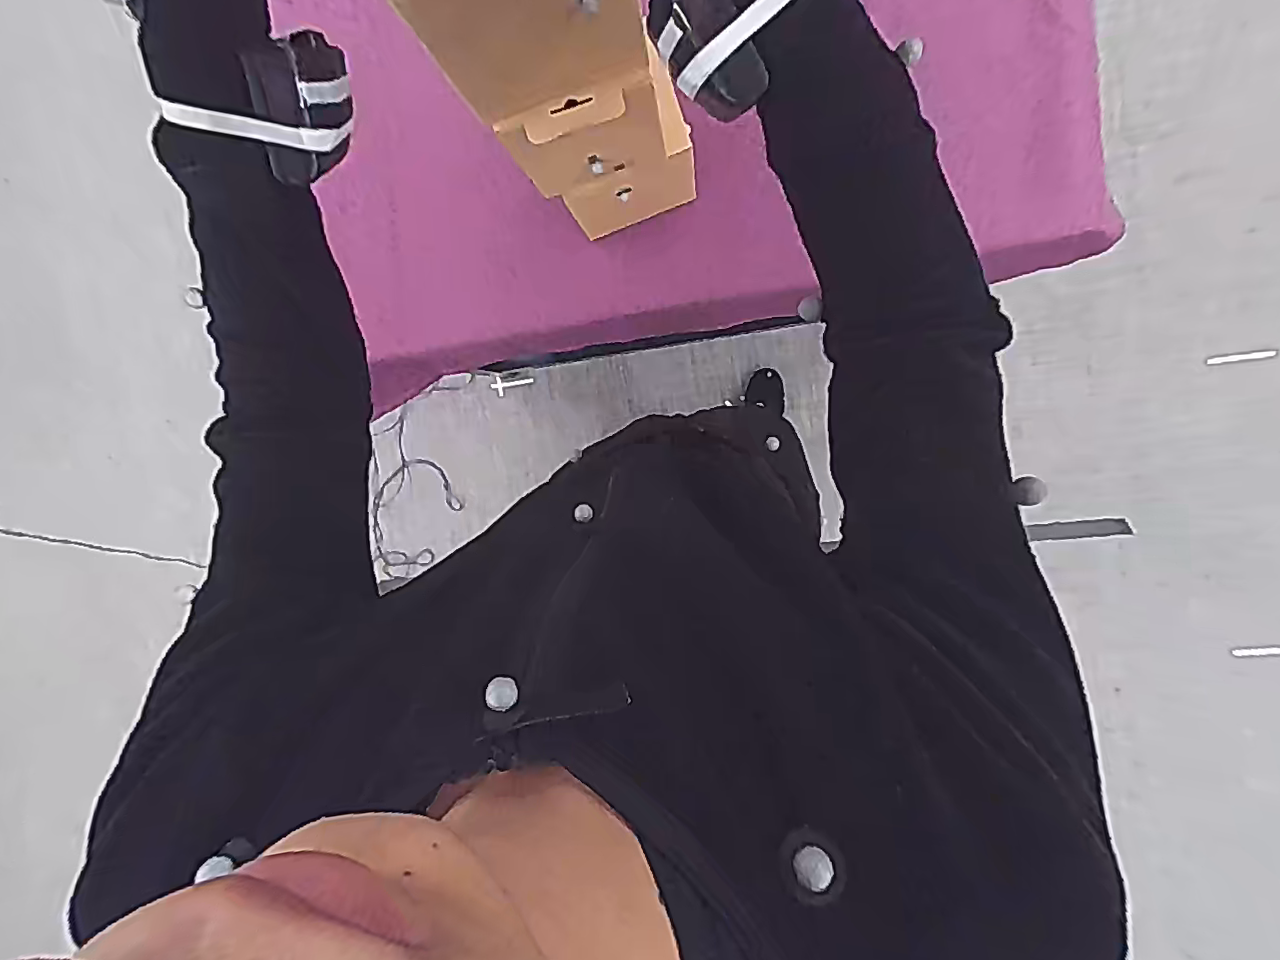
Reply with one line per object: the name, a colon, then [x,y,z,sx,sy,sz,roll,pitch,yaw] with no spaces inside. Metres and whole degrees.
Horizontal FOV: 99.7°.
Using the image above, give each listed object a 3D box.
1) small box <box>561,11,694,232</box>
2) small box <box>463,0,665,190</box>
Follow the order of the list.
small box: [-0.031,-0.473,0.748,0.179,0.176,0.168,-18,95,9]
small box: [-0.074,-0.455,0.589,0.168,0.176,0.179,-13,96,10]
